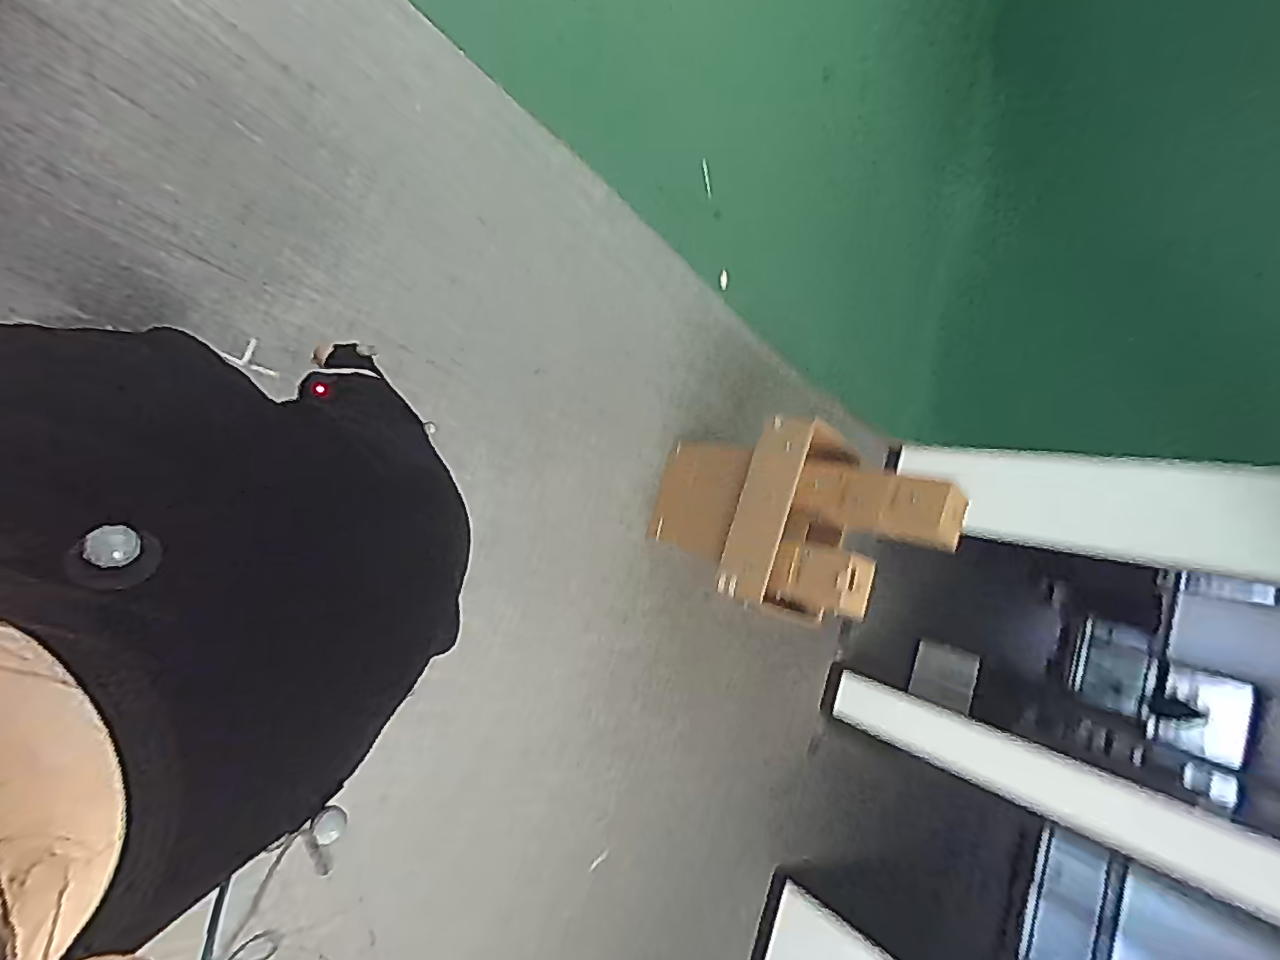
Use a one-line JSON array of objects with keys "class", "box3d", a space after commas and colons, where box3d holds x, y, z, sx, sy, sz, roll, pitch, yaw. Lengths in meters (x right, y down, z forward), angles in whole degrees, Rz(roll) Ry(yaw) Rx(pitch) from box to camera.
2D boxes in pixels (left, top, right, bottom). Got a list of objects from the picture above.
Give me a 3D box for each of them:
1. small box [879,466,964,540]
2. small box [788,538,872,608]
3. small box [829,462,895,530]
[{"class": "small box", "box3d": [0.862, 0.066, 1.661, 0.179, 0.176, 0.168, 31, 78, -41]}, {"class": "small box", "box3d": [0.579, 0.281, 1.660, 0.179, 0.176, 0.168, 22, 82, -42]}, {"class": "small box", "box3d": [0.749, 0.048, 1.779, 0.179, 0.176, 0.168, 28, 79, -42]}]
